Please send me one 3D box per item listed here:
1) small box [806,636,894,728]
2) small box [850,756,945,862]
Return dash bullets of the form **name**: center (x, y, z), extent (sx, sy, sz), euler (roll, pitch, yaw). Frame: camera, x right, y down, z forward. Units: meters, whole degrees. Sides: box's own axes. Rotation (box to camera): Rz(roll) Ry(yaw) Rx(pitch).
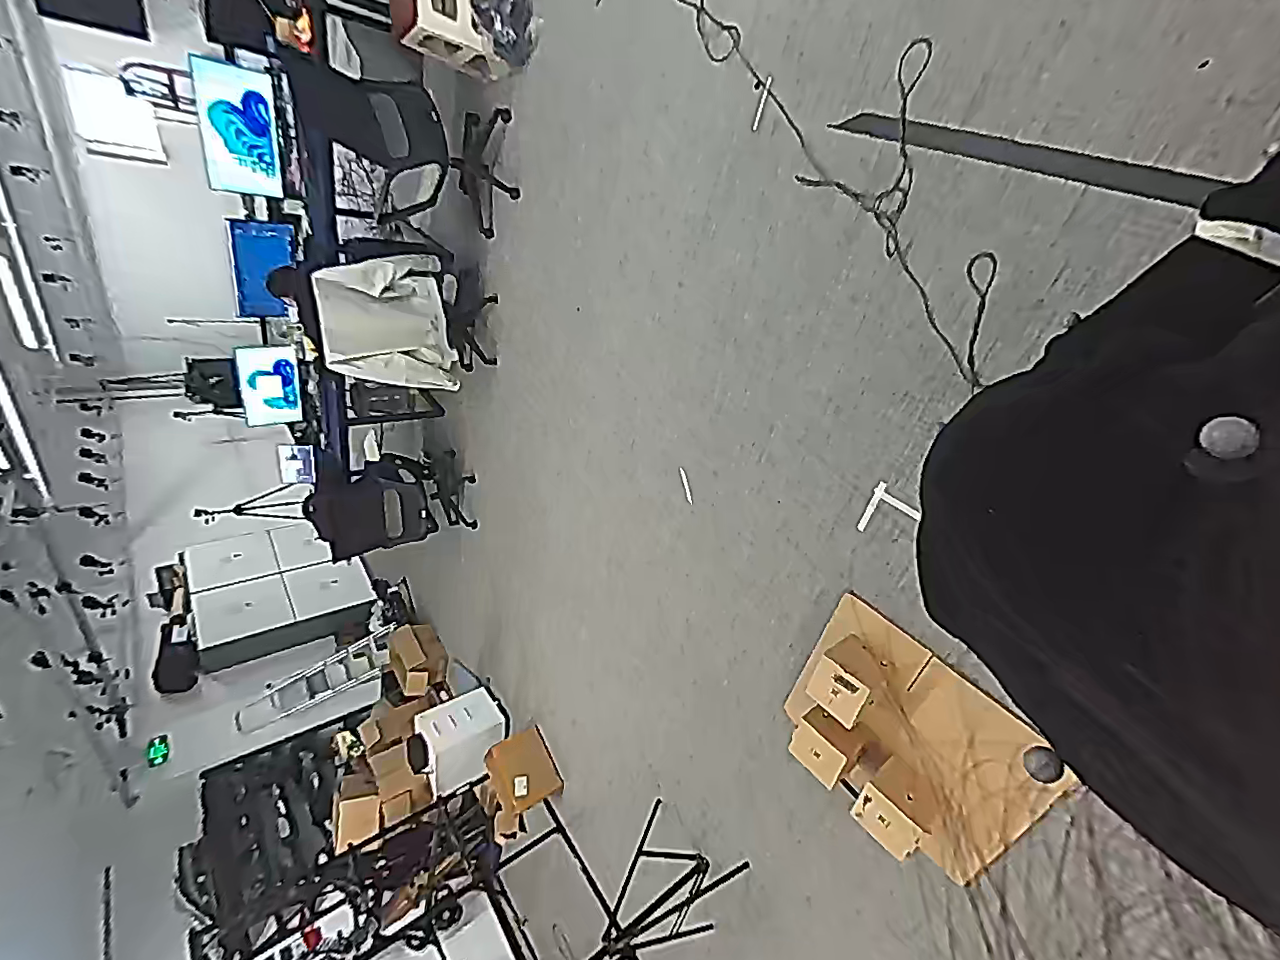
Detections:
- **small box**: center (0.651, 0.615, 1.669), extent (0.168, 0.176, 0.179), euler (37, 127, 39)
- **small box**: center (0.774, 0.975, 1.618), extent (0.179, 0.176, 0.168), euler (35, 126, 38)
